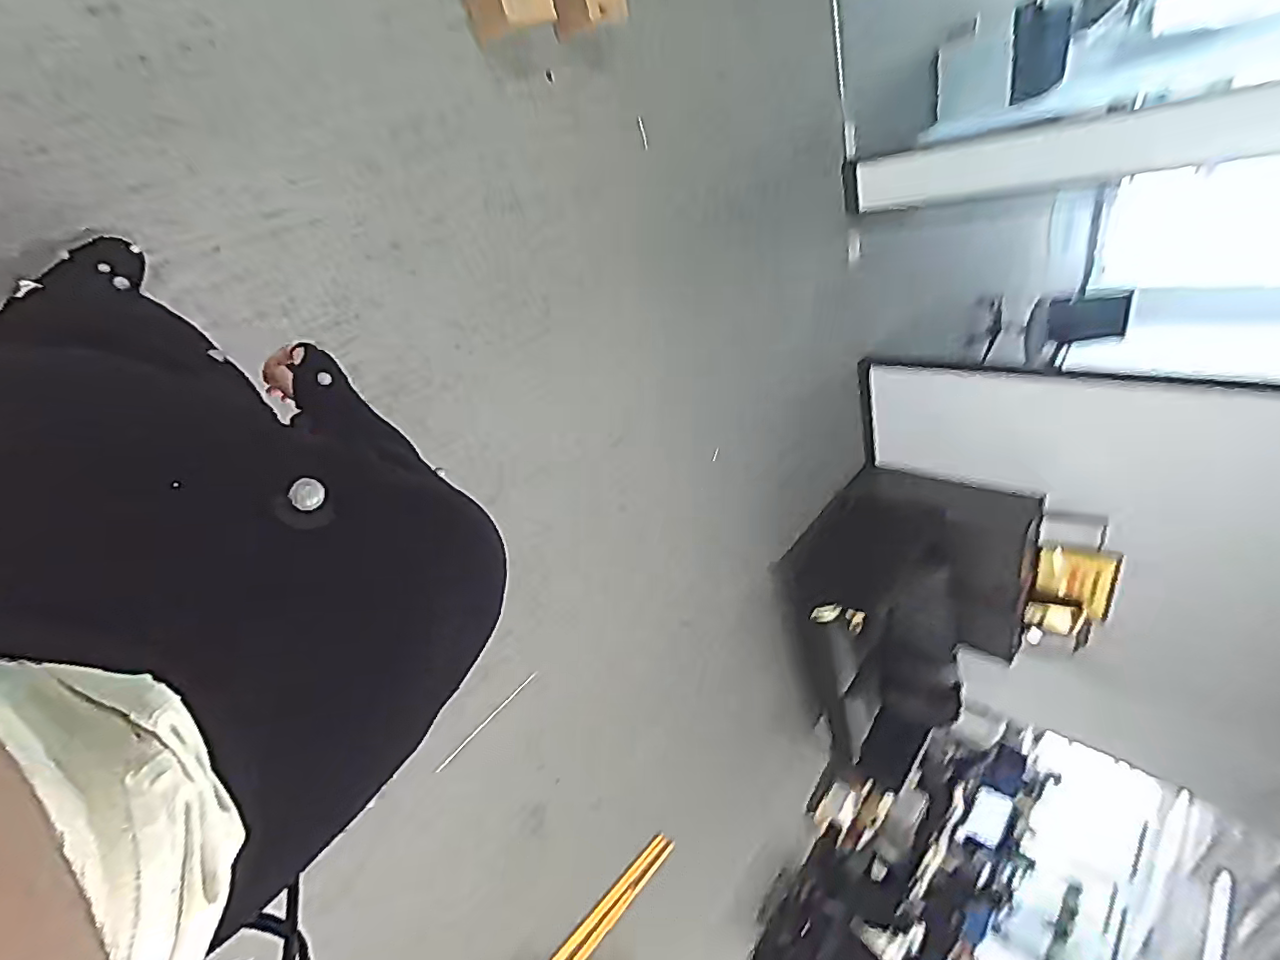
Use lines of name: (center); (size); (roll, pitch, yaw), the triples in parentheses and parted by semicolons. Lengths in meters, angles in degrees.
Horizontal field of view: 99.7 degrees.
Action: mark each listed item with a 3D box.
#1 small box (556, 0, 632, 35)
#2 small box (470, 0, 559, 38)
small box: (-0.155, -1.470, 1.612); (0.168, 0.176, 0.179); (-38, 126, -31)
small box: (-0.355, -1.328, 1.457); (0.179, 0.176, 0.168); (-40, 128, -30)
